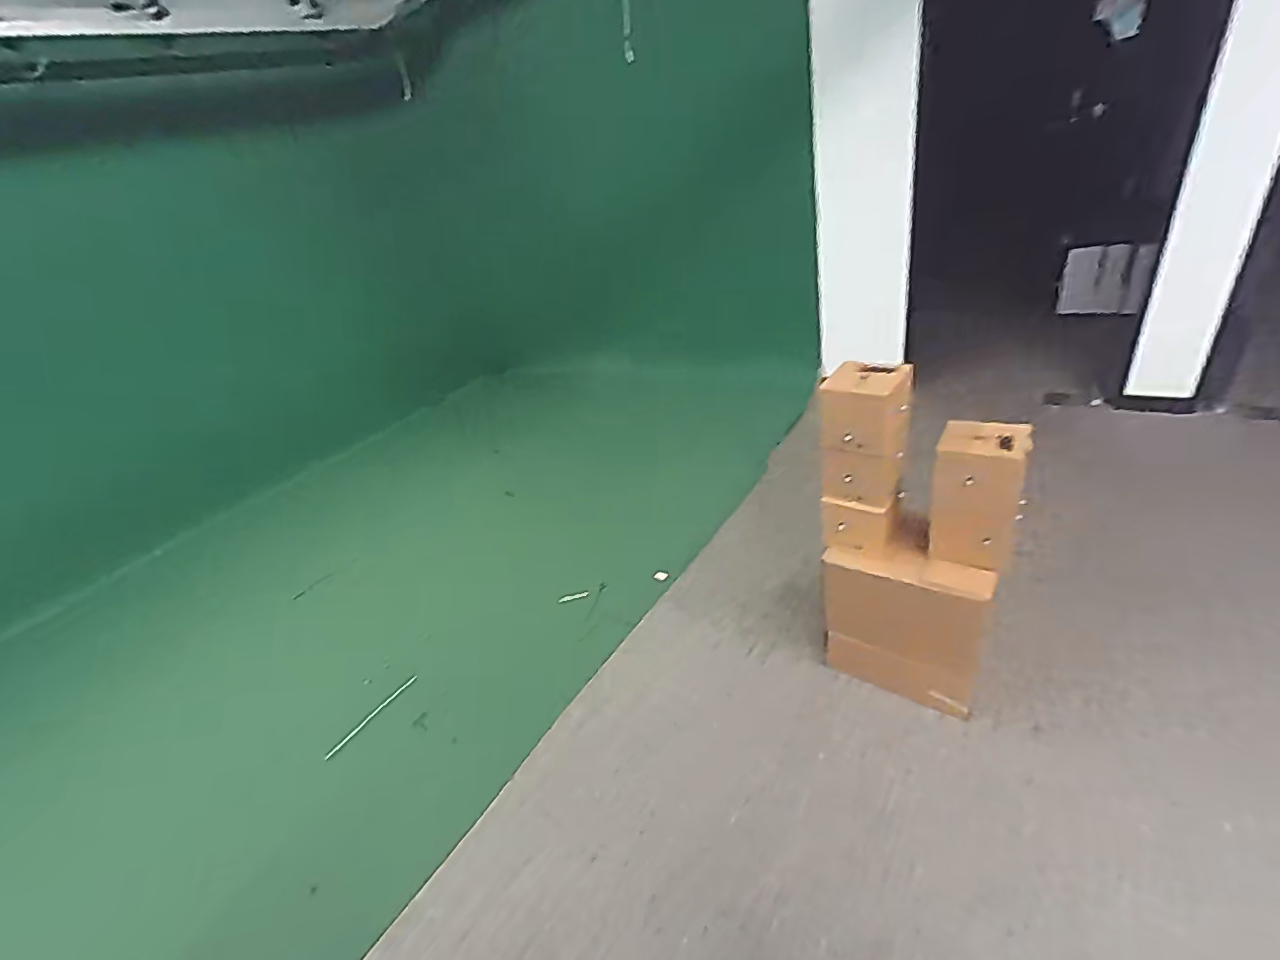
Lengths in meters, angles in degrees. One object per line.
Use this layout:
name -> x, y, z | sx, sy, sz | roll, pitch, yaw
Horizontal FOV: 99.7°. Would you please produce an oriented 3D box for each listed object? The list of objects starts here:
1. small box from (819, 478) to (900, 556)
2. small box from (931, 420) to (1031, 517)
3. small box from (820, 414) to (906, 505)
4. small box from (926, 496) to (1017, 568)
small box -> 0.622, 0.087, 1.531 | 0.168, 0.176, 0.179 | 14, 41, 36
small box -> 0.833, -0.030, 1.328 | 0.179, 0.176, 0.168 | 11, 39, 37
small box -> 0.599, -0.056, 1.453 | 0.168, 0.176, 0.179 | 16, 42, 37
small box -> 0.864, 0.106, 1.414 | 0.179, 0.176, 0.168 | 10, 38, 36
